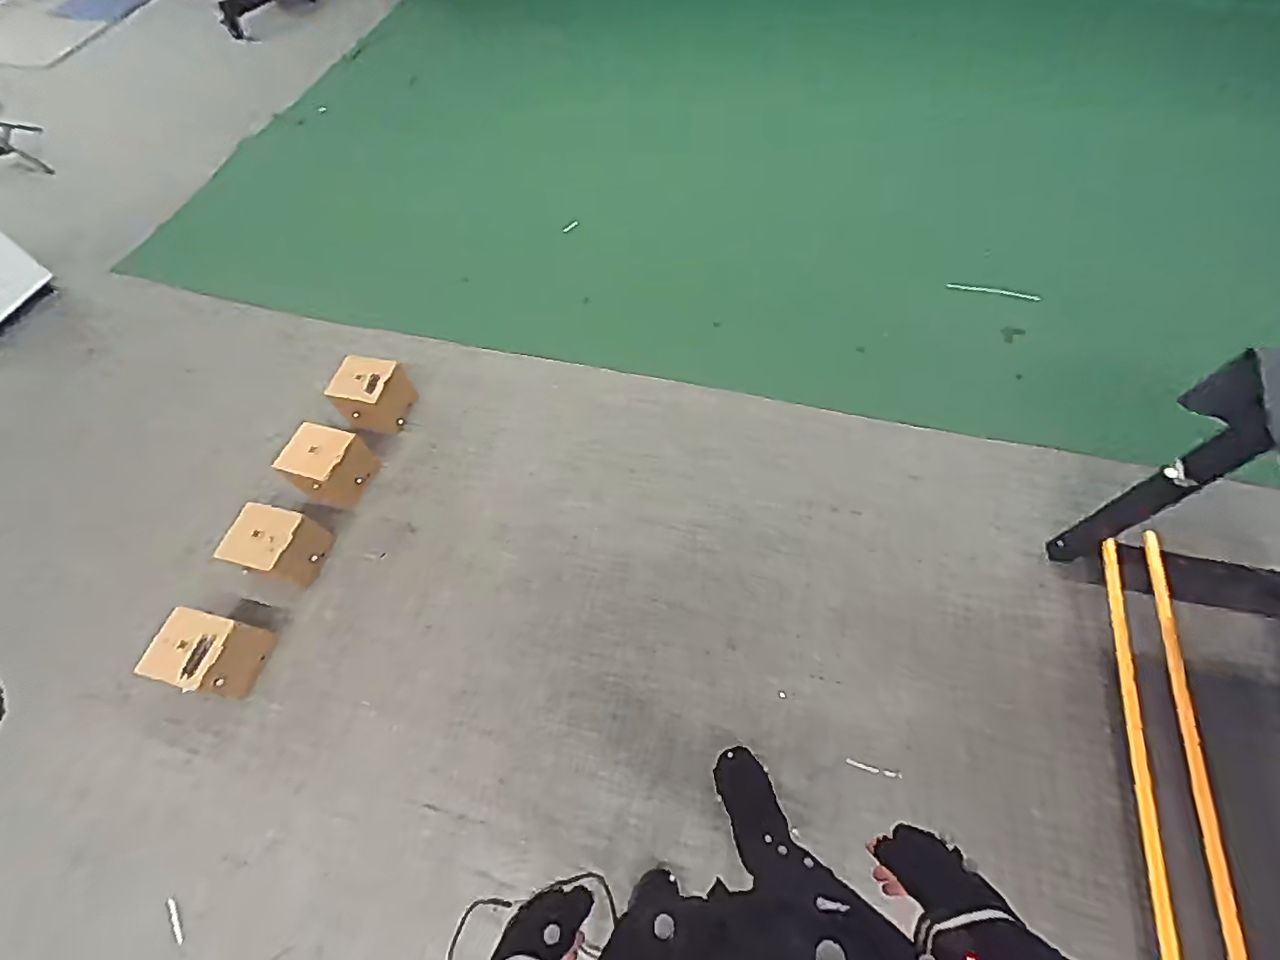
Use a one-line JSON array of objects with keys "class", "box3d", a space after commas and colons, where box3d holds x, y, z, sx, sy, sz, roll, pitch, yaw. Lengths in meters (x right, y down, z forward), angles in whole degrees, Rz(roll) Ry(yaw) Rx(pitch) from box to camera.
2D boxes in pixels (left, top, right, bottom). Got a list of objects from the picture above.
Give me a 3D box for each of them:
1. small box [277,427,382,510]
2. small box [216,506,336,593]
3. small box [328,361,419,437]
[{"class": "small box", "box3d": [-0.915, -0.029, 1.610, 0.179, 0.176, 0.168, 14, 61, 10]}, {"class": "small box", "box3d": [-0.985, 0.195, 1.481, 0.179, 0.176, 0.168, 12, 62, 9]}, {"class": "small box", "box3d": [-0.845, -0.256, 1.737, 0.179, 0.176, 0.168, 10, 61, 9]}]
